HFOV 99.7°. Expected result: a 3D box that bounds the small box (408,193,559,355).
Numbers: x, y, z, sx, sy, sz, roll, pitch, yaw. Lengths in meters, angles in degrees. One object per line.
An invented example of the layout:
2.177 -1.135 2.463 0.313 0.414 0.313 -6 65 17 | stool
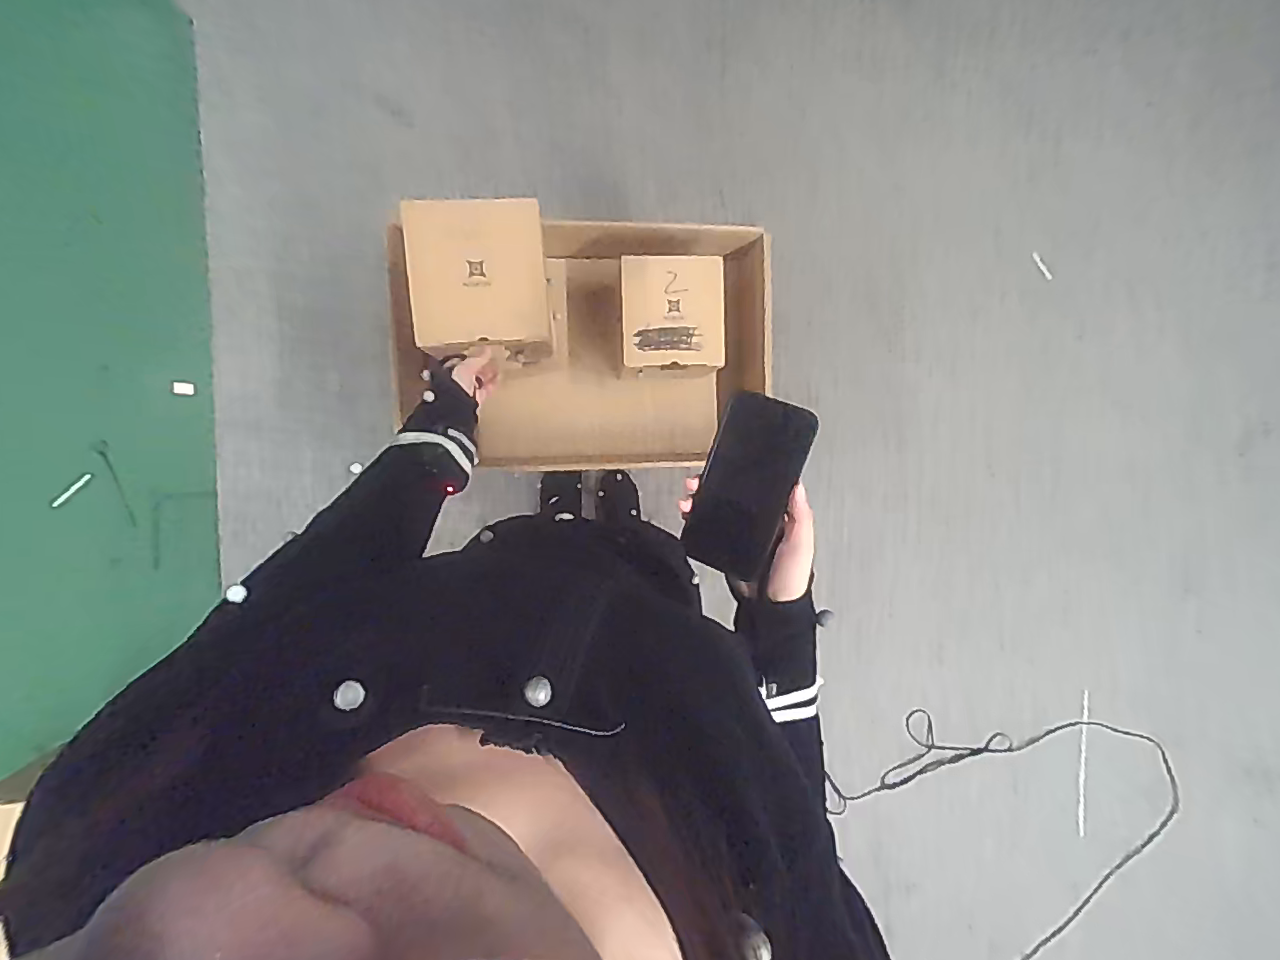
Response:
-0.202 -0.270 0.744 0.168 0.176 0.179 -5 96 -7 | small box
